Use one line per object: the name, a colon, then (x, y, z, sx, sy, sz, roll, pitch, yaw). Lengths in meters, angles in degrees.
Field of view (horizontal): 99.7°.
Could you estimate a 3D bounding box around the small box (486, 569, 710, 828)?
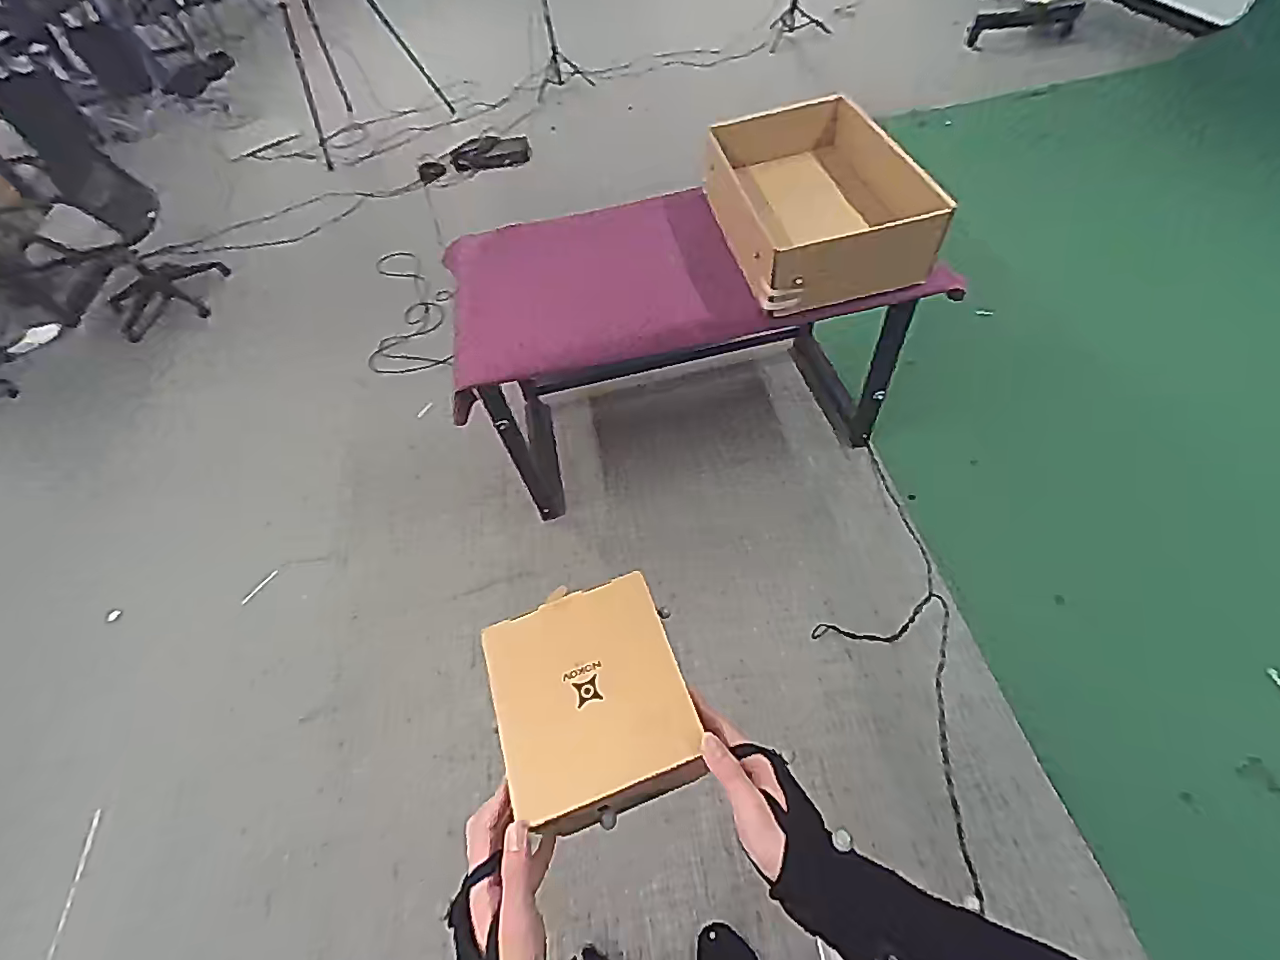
small box: (-0.034, 0.222, 0.540, 0.168, 0.176, 0.179, -19, 54, -6)
